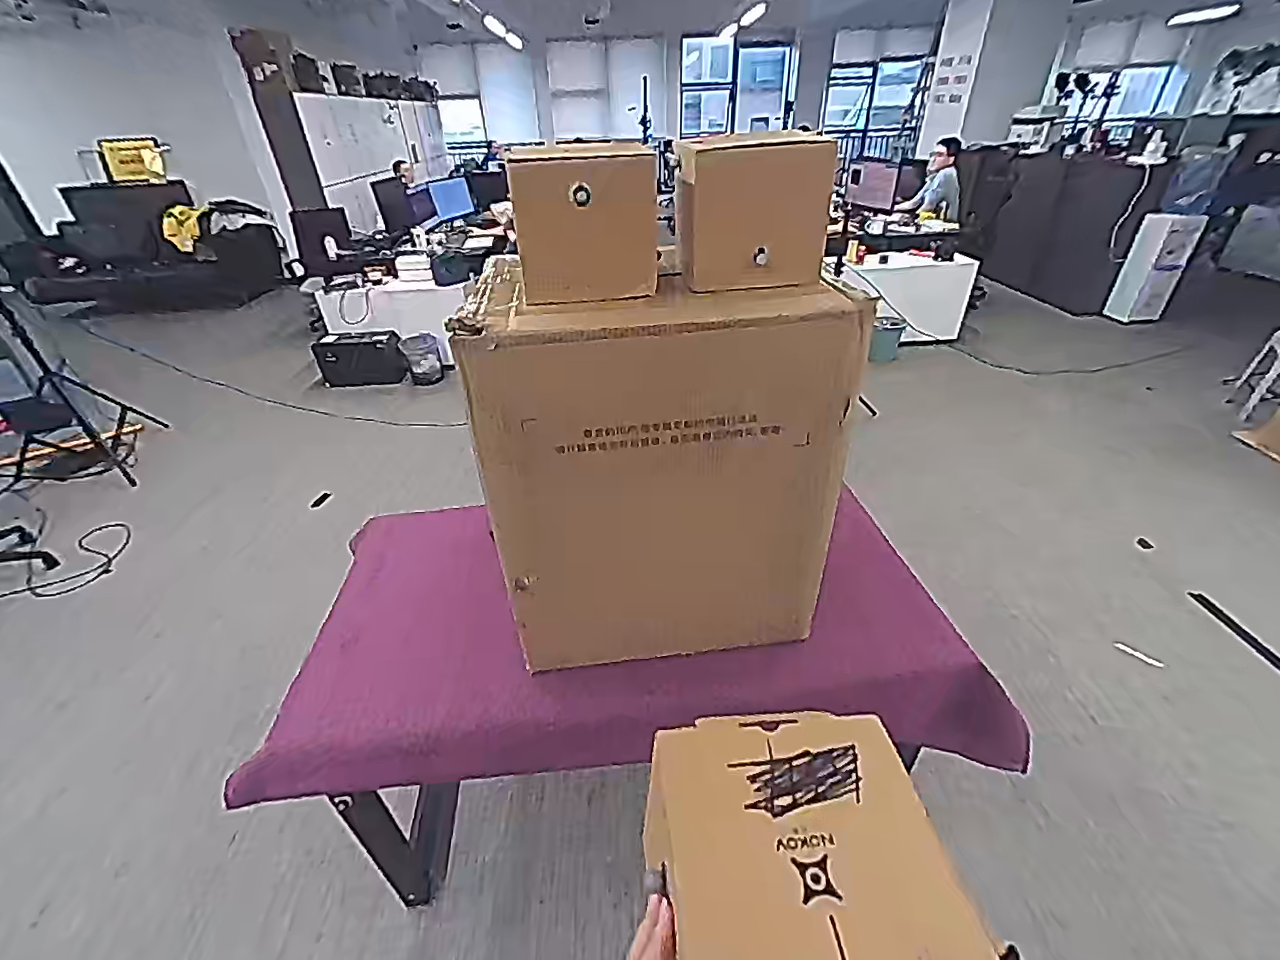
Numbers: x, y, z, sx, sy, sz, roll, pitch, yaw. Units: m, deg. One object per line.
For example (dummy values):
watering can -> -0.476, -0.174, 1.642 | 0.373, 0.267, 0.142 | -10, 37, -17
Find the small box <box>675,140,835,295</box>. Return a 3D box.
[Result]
small box -> 0.145, -0.367, 0.753 | 0.179, 0.176, 0.168 | -5, 34, -3

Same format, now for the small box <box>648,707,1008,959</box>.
small box -> 0.098, 0.284, 0.364 | 0.168, 0.176, 0.179 | -2, 34, -7
